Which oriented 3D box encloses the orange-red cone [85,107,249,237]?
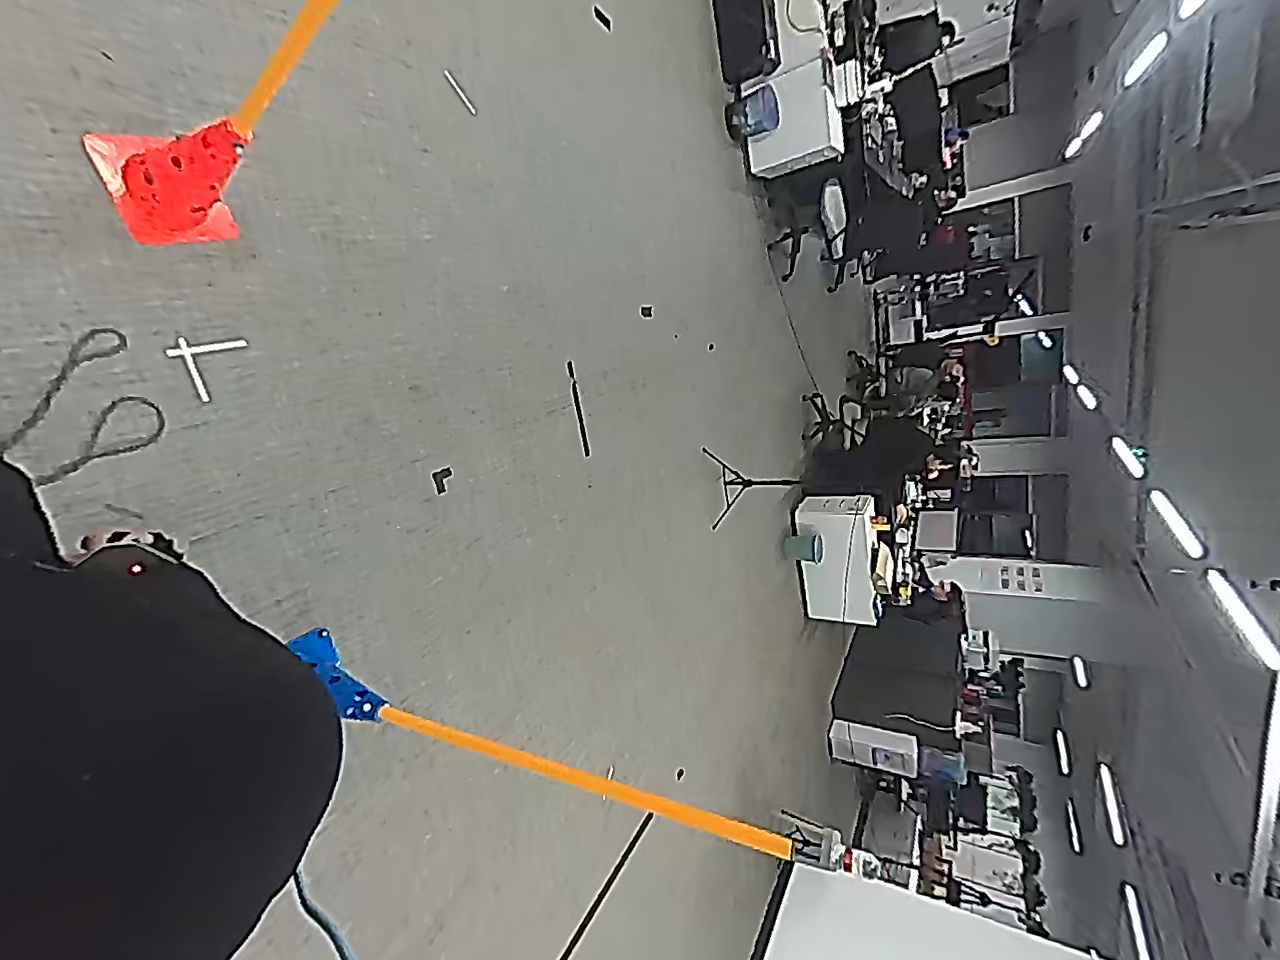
[{"bbox_3d":[-0.833,-0.611,1.018,0.199,0.360,0.198,-38,120,-50],"label":"orange-red cone"}]
